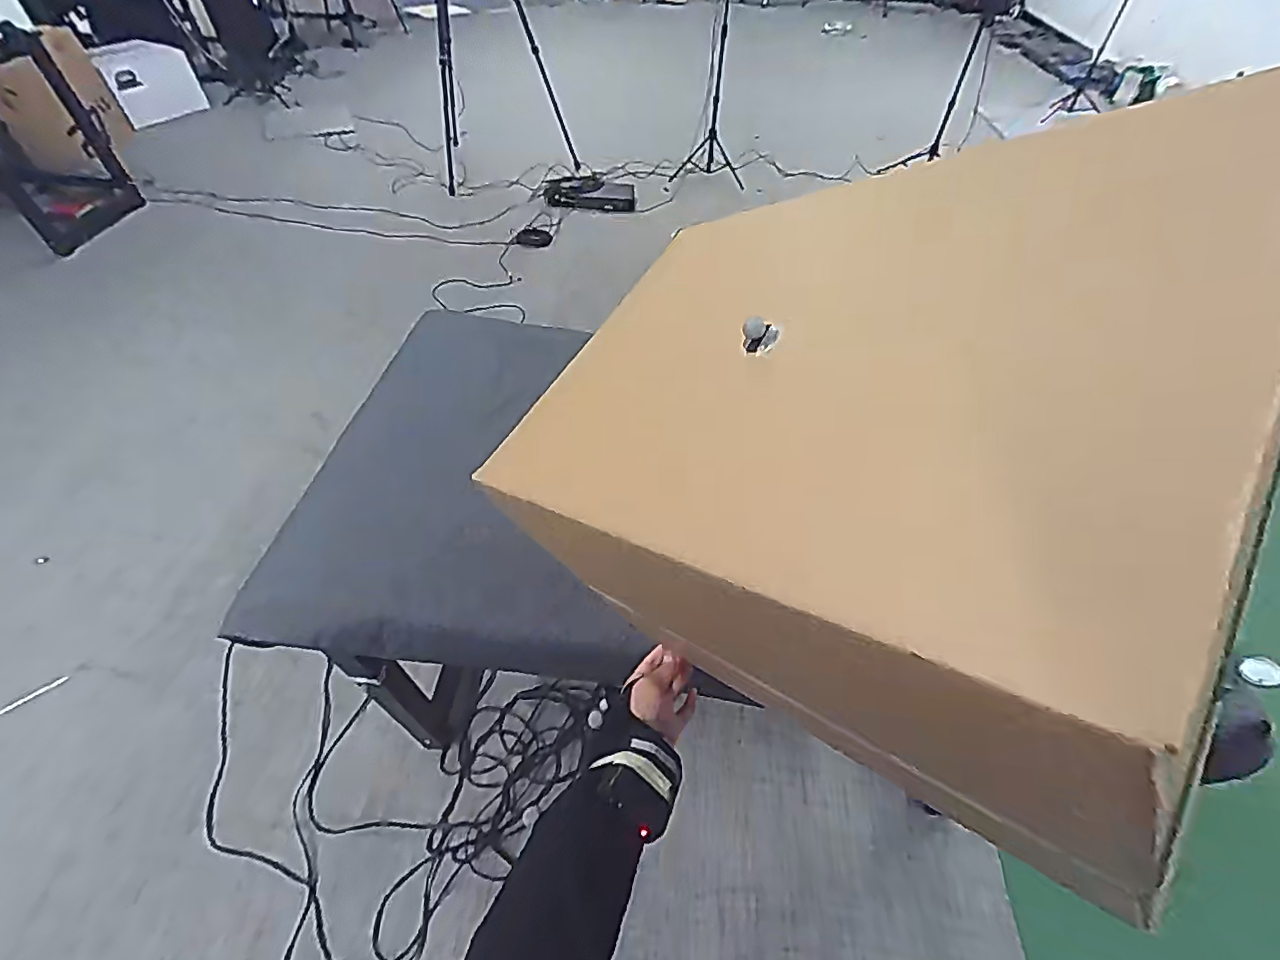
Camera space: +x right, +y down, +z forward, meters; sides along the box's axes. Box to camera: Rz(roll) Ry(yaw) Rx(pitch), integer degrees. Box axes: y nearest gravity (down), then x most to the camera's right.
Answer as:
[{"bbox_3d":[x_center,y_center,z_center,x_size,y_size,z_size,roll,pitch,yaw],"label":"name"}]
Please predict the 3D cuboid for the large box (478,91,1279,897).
[{"bbox_3d":[0.156,0.012,0.412,0.408,0.320,0.320,12,61,48],"label":"large box"}]
